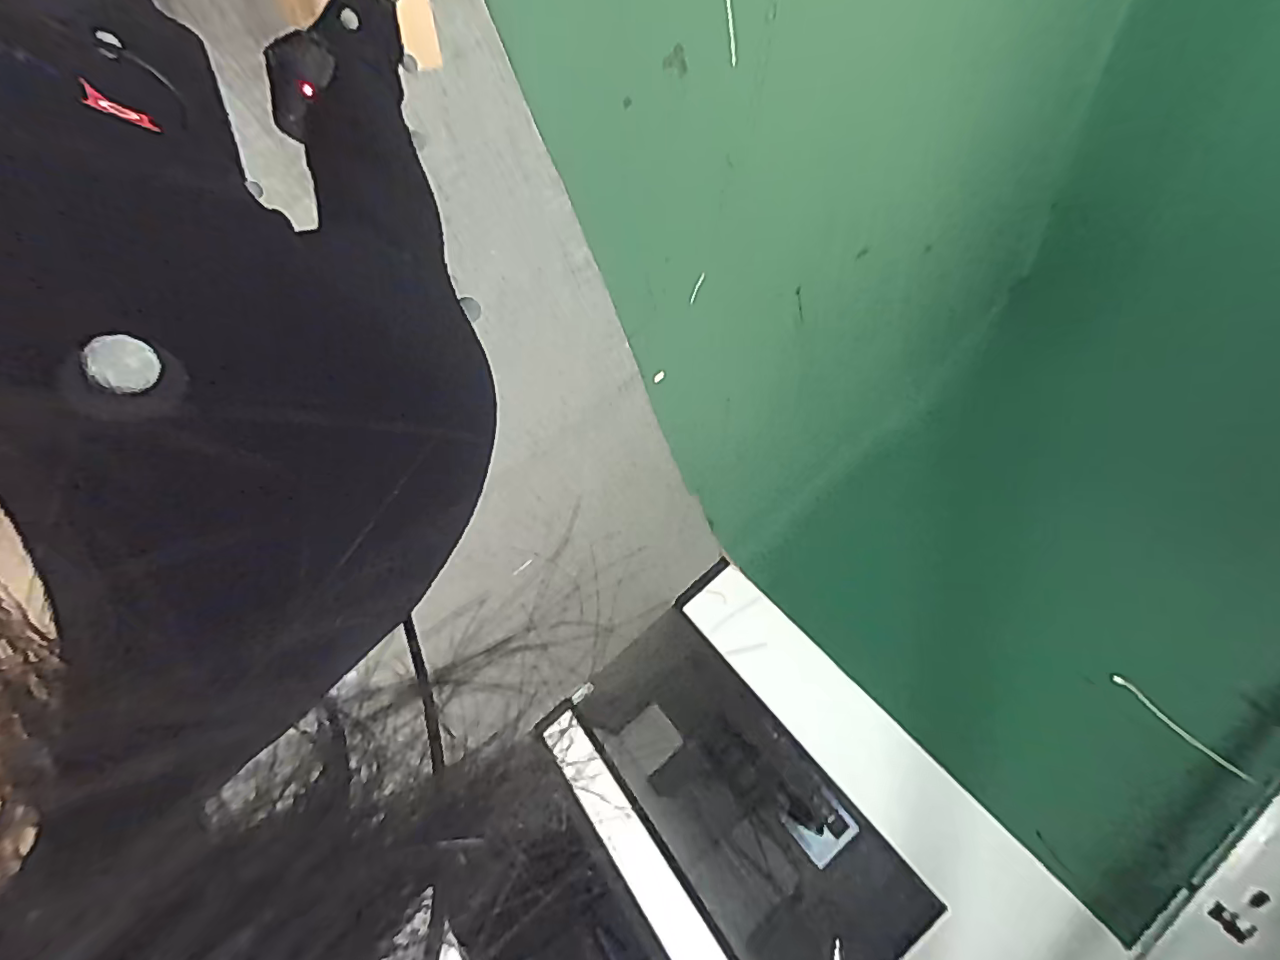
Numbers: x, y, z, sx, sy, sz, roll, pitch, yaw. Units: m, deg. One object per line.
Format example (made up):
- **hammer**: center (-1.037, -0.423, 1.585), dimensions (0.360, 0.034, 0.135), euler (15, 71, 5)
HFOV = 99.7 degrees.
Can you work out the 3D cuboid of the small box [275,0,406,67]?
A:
- **small box**: center (-0.553, -0.874, 0.956), dimensions (0.168, 0.176, 0.179), euler (-34, 145, -15)
